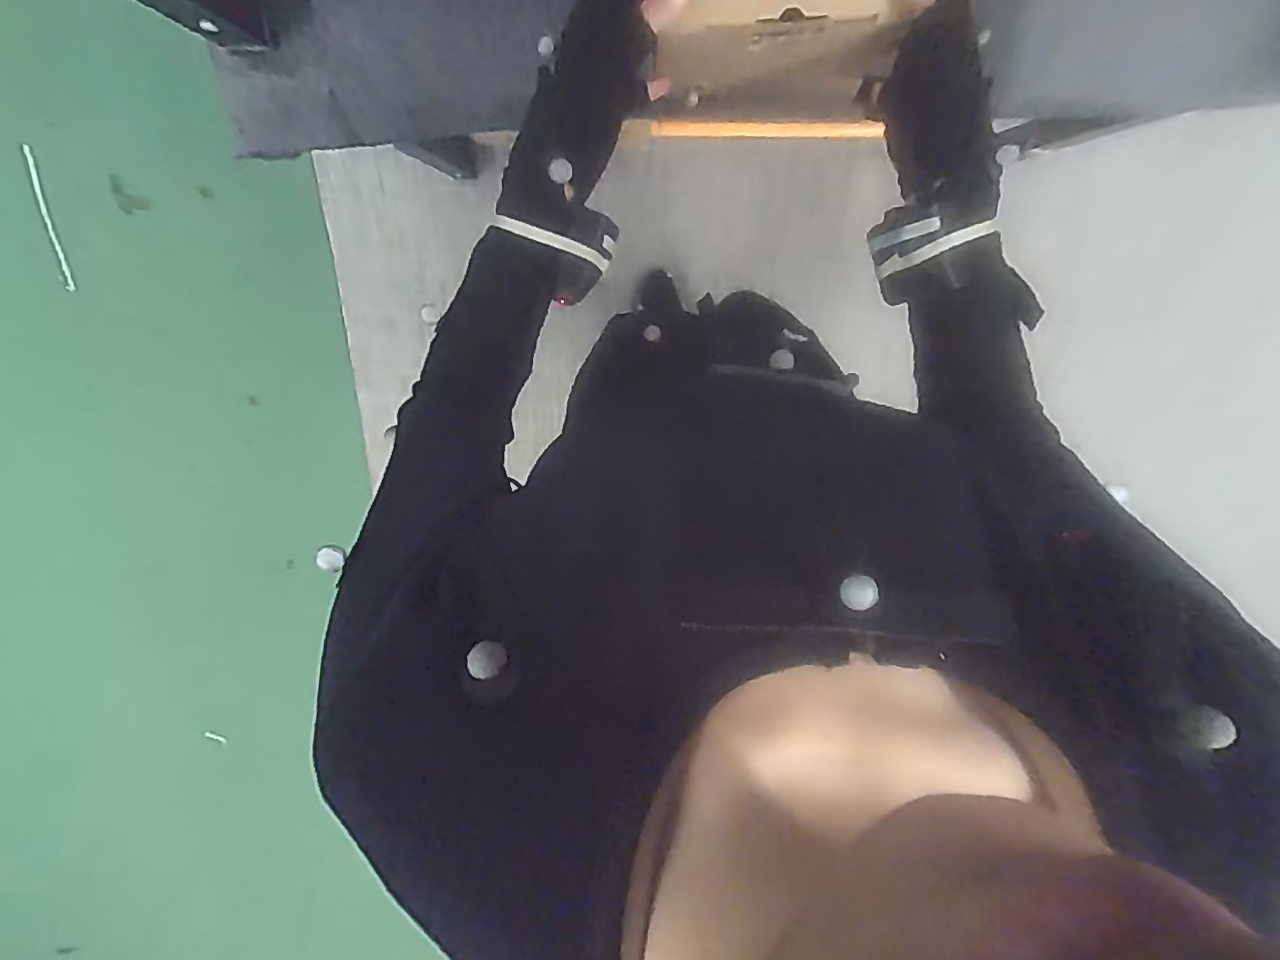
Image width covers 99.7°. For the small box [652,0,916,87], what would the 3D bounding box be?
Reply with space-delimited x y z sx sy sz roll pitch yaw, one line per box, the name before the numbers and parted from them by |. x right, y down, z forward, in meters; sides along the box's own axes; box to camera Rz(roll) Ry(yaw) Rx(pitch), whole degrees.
small box | 0.091 -0.399 0.382 0.168 0.176 0.179 -2 114 2
